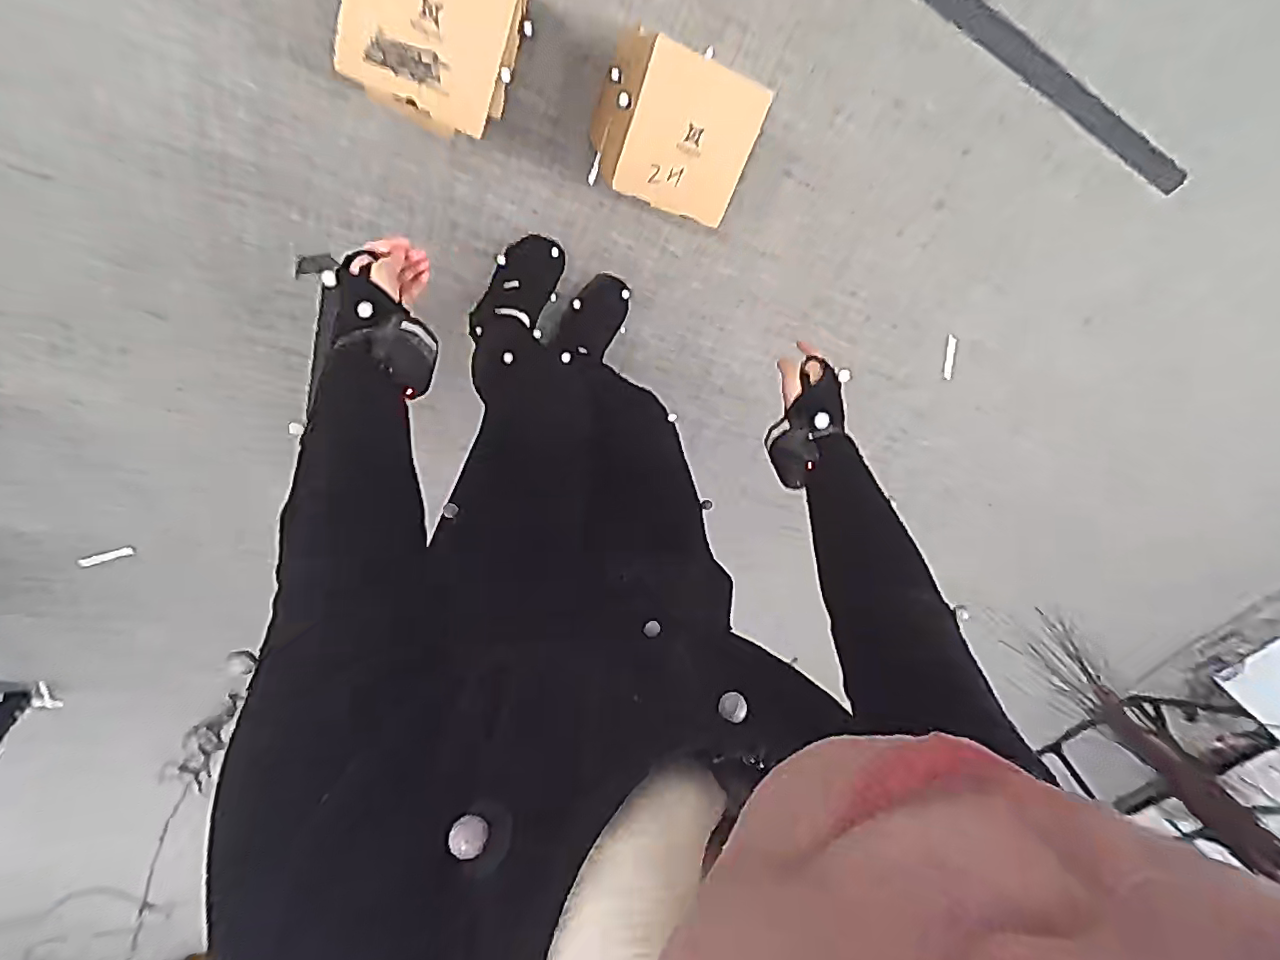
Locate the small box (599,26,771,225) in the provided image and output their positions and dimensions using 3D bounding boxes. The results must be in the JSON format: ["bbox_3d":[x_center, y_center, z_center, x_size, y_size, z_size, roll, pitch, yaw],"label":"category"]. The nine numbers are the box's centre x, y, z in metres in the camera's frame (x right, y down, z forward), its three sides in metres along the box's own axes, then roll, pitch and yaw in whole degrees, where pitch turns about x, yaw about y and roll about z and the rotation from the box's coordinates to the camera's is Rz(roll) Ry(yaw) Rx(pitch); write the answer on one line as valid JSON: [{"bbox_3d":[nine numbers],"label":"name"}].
[{"bbox_3d":[0.048,-0.493,0.756,0.168,0.176,0.179,12,126,-20],"label":"small box"}]

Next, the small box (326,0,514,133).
[{"bbox_3d":[-0.249,-0.553,0.640,0.168,0.176,0.179,15,123,-25],"label":"small box"}]

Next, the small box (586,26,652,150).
[{"bbox_3d":[0.026,-0.602,0.879,0.179,0.176,0.168,13,125,-23],"label":"small box"}]
